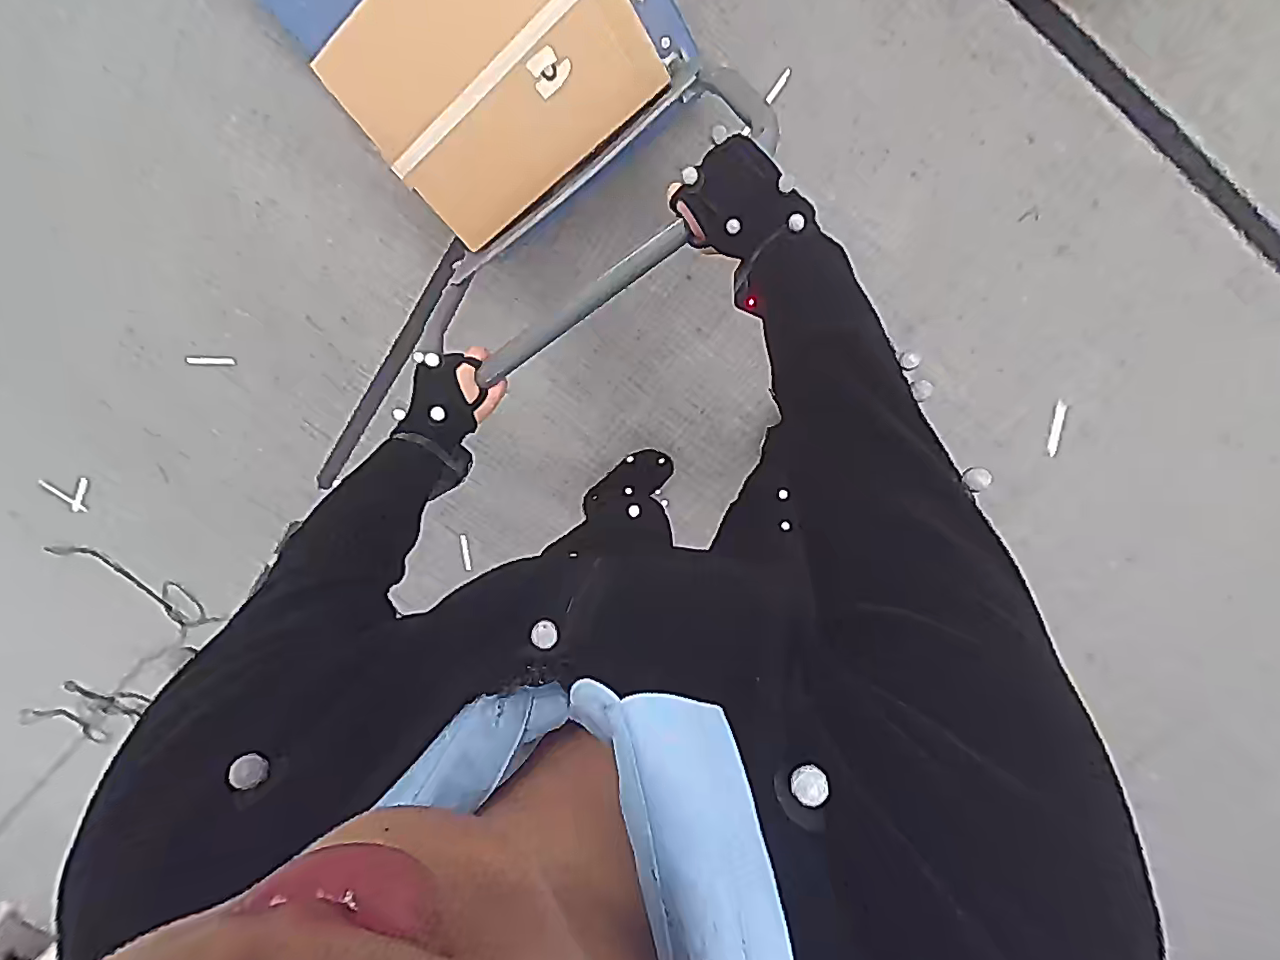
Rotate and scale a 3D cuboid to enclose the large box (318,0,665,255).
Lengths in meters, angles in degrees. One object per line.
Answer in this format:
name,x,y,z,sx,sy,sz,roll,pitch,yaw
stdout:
large box,-0.215,-0.653,0.886,0.408,0.320,0.320,-32,122,18
